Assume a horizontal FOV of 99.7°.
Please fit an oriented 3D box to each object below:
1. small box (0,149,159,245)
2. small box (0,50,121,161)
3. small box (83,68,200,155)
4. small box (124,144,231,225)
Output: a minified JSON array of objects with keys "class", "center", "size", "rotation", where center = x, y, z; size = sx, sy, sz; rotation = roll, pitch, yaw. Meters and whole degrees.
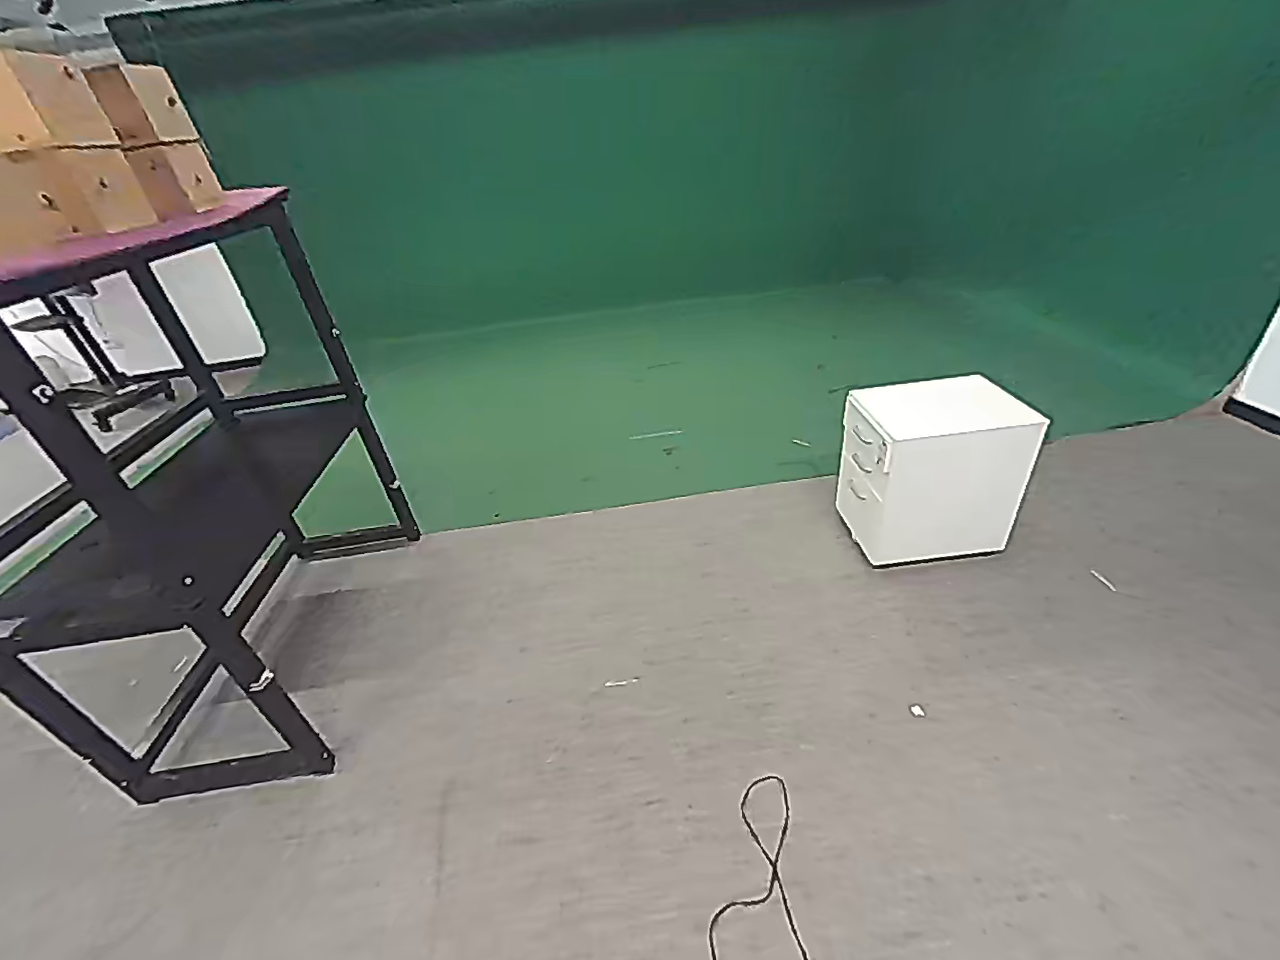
[{"class":"small box","center":[-1.258,-0.638,1.223],"size":[0.168,0.176,0.179],"rotation":[-7,34,-1]},{"class":"small box","center":[-1.272,-0.776,1.136],"size":[0.168,0.176,0.179],"rotation":[-6,32,2]},{"class":"small box","center":[-1.309,-0.956,1.411],"size":[0.168,0.176,0.179],"rotation":[-10,36,1]},{"class":"small box","center":[-1.302,-0.823,1.506],"size":[0.179,0.176,0.168],"rotation":[-9,34,1]}]
